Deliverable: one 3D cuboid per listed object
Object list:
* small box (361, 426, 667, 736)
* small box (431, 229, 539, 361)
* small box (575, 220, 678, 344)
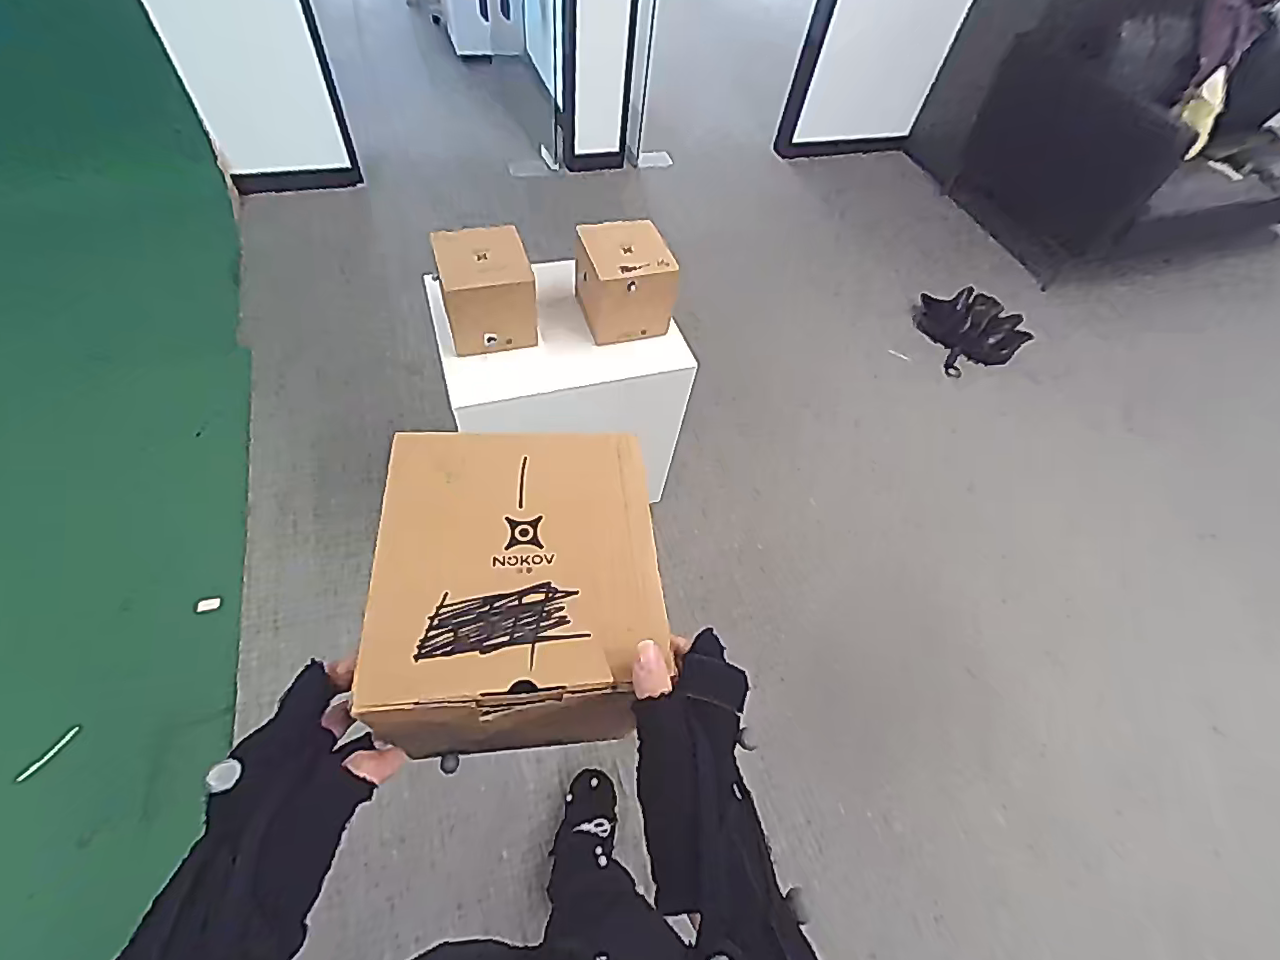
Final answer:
[{"bbox_3d":[-0.083,0.080,0.399,0.168,0.176,0.179,-2,56,-11],"label":"small box"},{"bbox_3d":[-0.304,-0.367,1.078,0.168,0.176,0.179,-16,61,-16],"label":"small box"},{"bbox_3d":[-0.036,-0.414,1.137,0.168,0.176,0.179,-15,59,-15],"label":"small box"}]
